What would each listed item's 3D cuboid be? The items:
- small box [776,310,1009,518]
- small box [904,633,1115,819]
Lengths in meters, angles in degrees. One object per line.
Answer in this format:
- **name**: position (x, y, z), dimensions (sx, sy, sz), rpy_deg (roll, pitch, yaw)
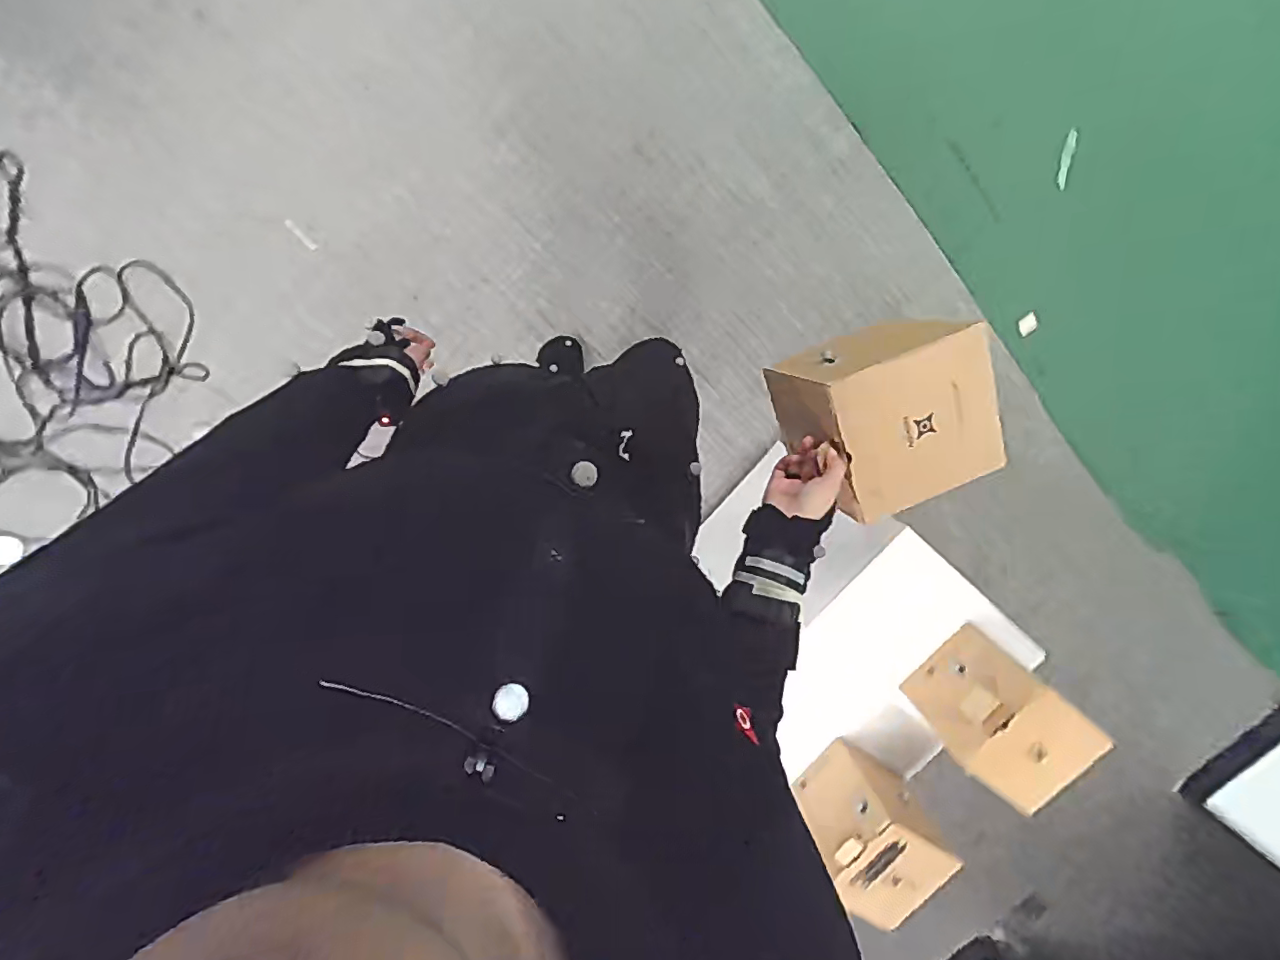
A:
- **small box**: position (0.277, -0.084, 0.630), dimensions (0.179, 0.176, 0.168), rpy_deg (-24, 109, -3)
- **small box**: position (0.567, 0.377, 0.851), dimensions (0.179, 0.176, 0.168), rpy_deg (38, 101, -15)
